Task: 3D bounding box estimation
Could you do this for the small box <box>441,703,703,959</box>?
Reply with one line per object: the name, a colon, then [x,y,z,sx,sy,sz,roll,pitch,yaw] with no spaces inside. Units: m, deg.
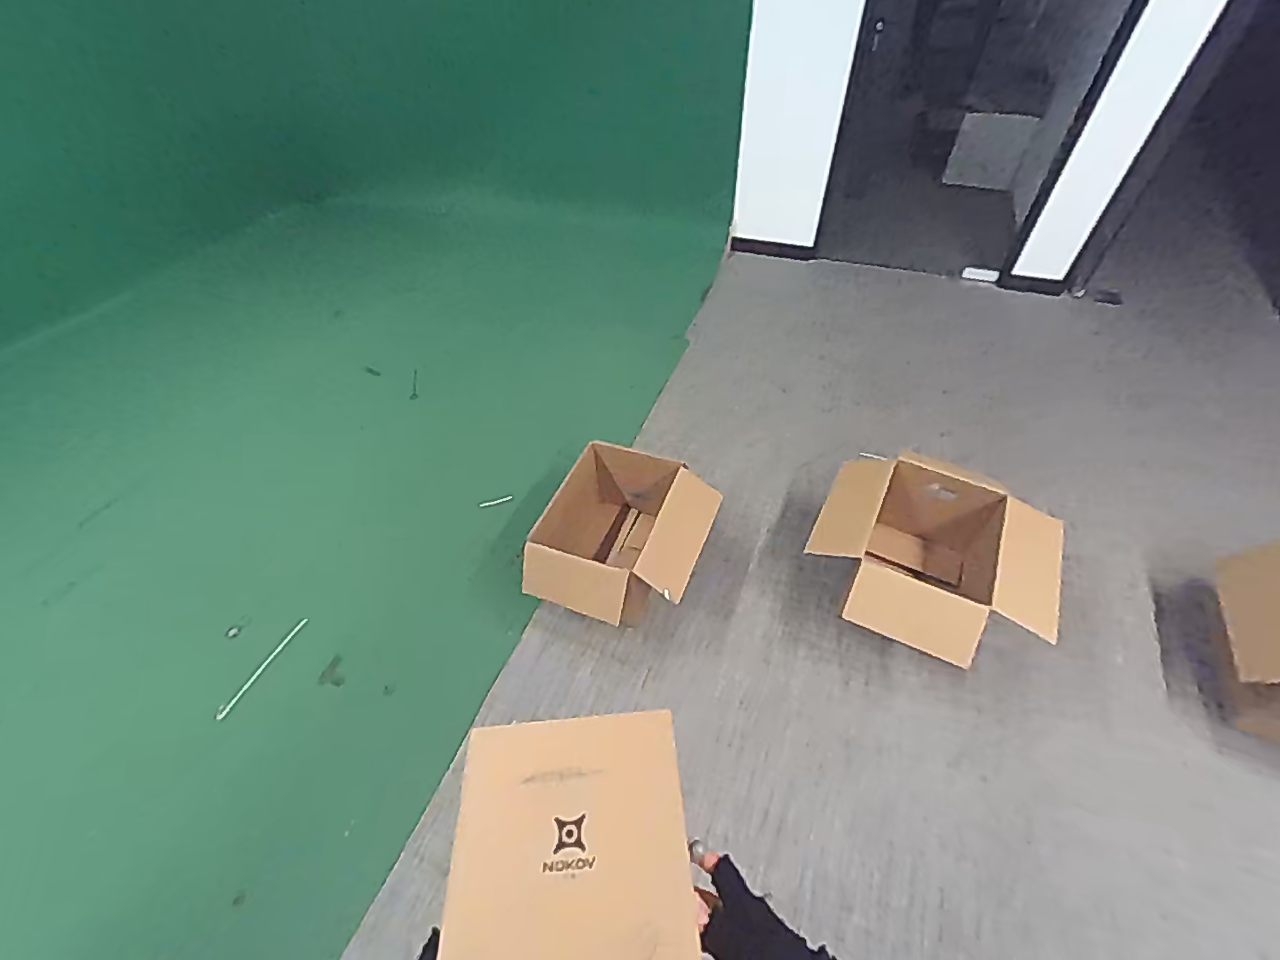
small box: [-0.043,0.307,0.434,0.168,0.176,0.179,-4,42,-2]
